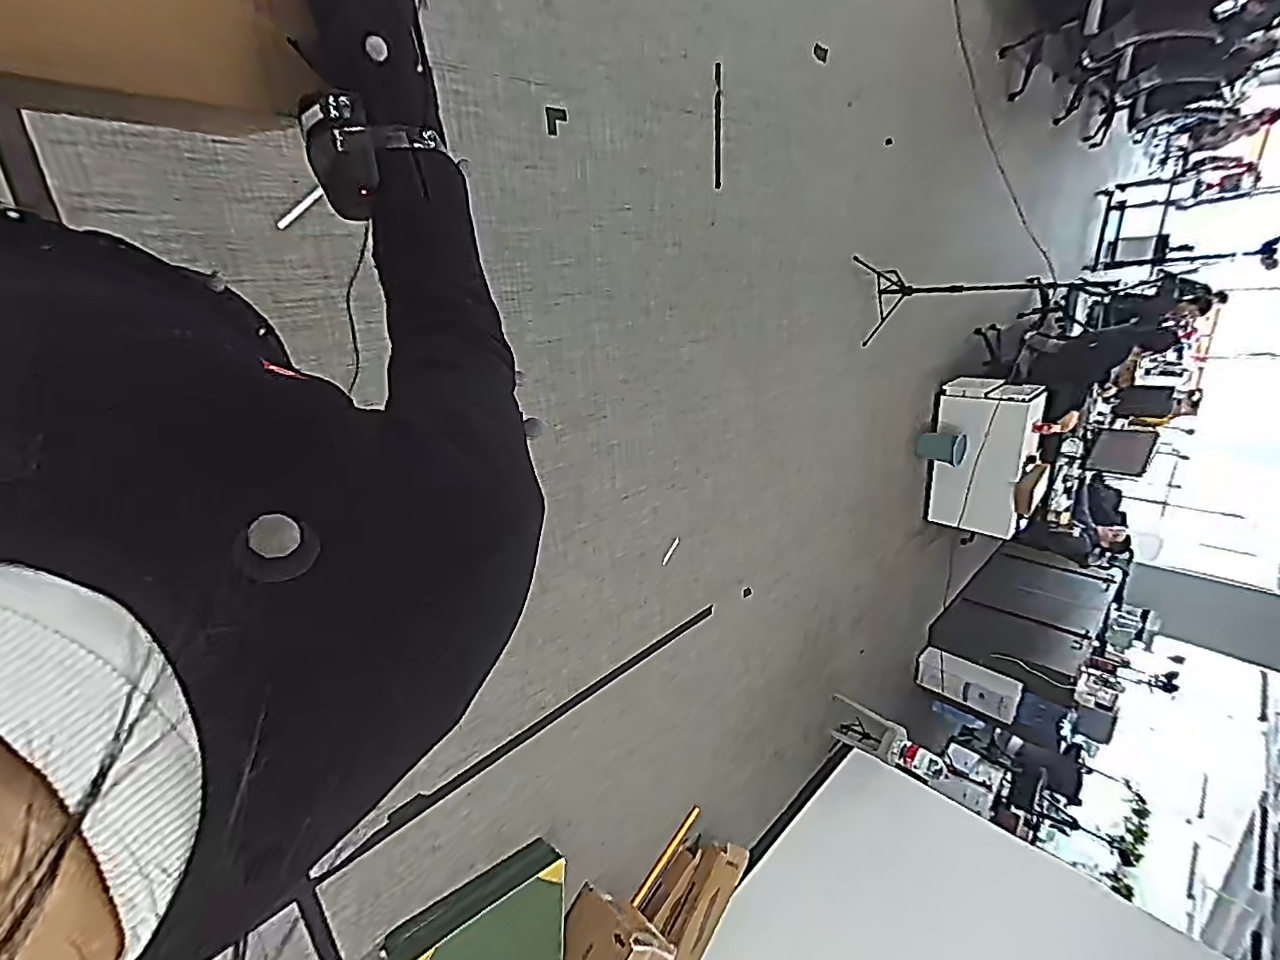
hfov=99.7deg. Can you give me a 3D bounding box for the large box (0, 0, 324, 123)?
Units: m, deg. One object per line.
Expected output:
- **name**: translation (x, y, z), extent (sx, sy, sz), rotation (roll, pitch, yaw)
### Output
- **large box**: translation (-0.463, -0.406, 0.292), extent (0.408, 0.320, 0.320), rotation (-19, 127, -39)
